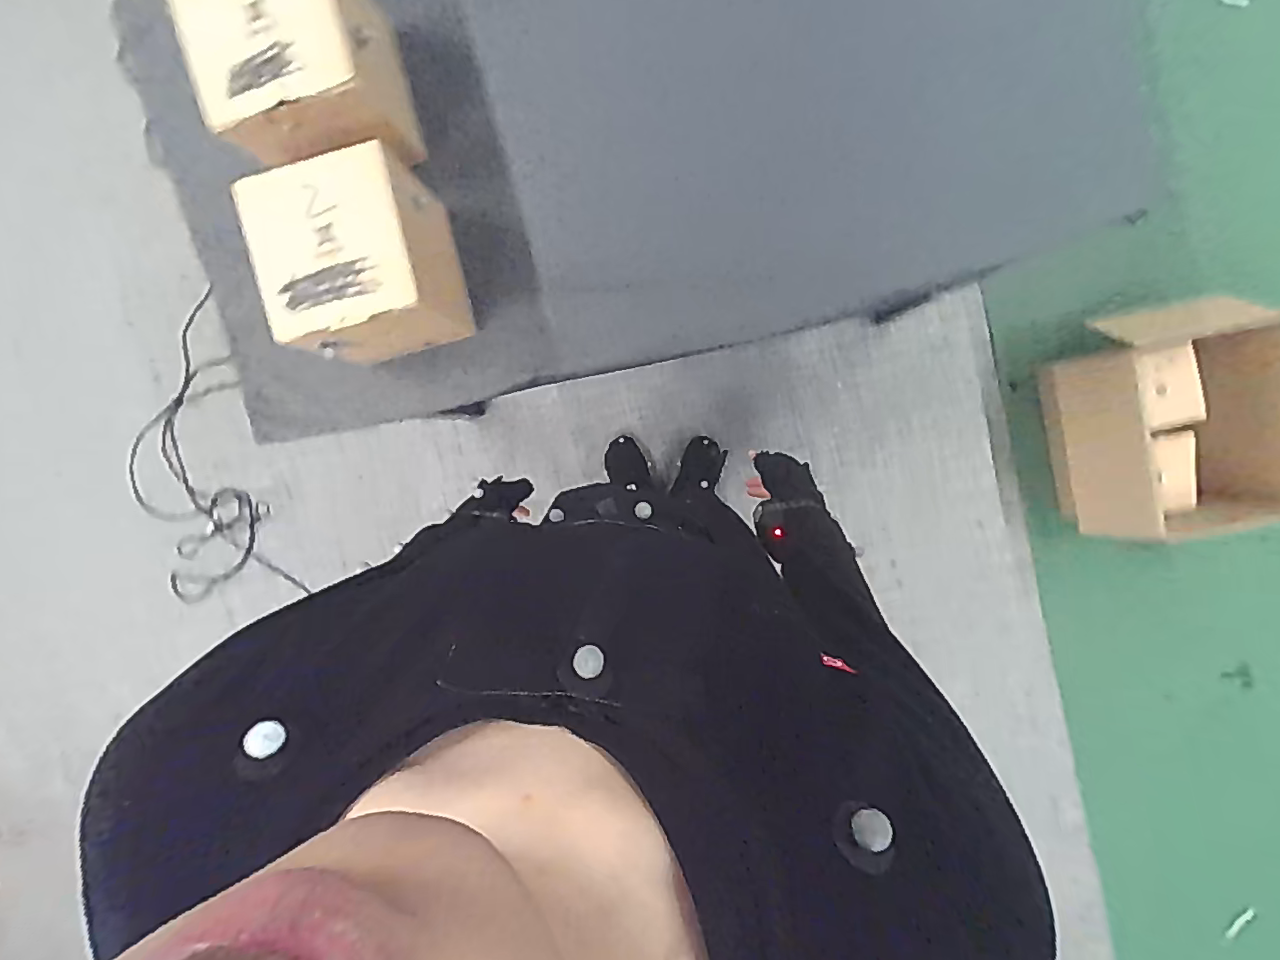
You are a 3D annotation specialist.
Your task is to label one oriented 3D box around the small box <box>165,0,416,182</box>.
[{"bbox_3d":[-0.390,-0.477,0.630,0.168,0.176,0.179,-15,94,4],"label":"small box"}]
